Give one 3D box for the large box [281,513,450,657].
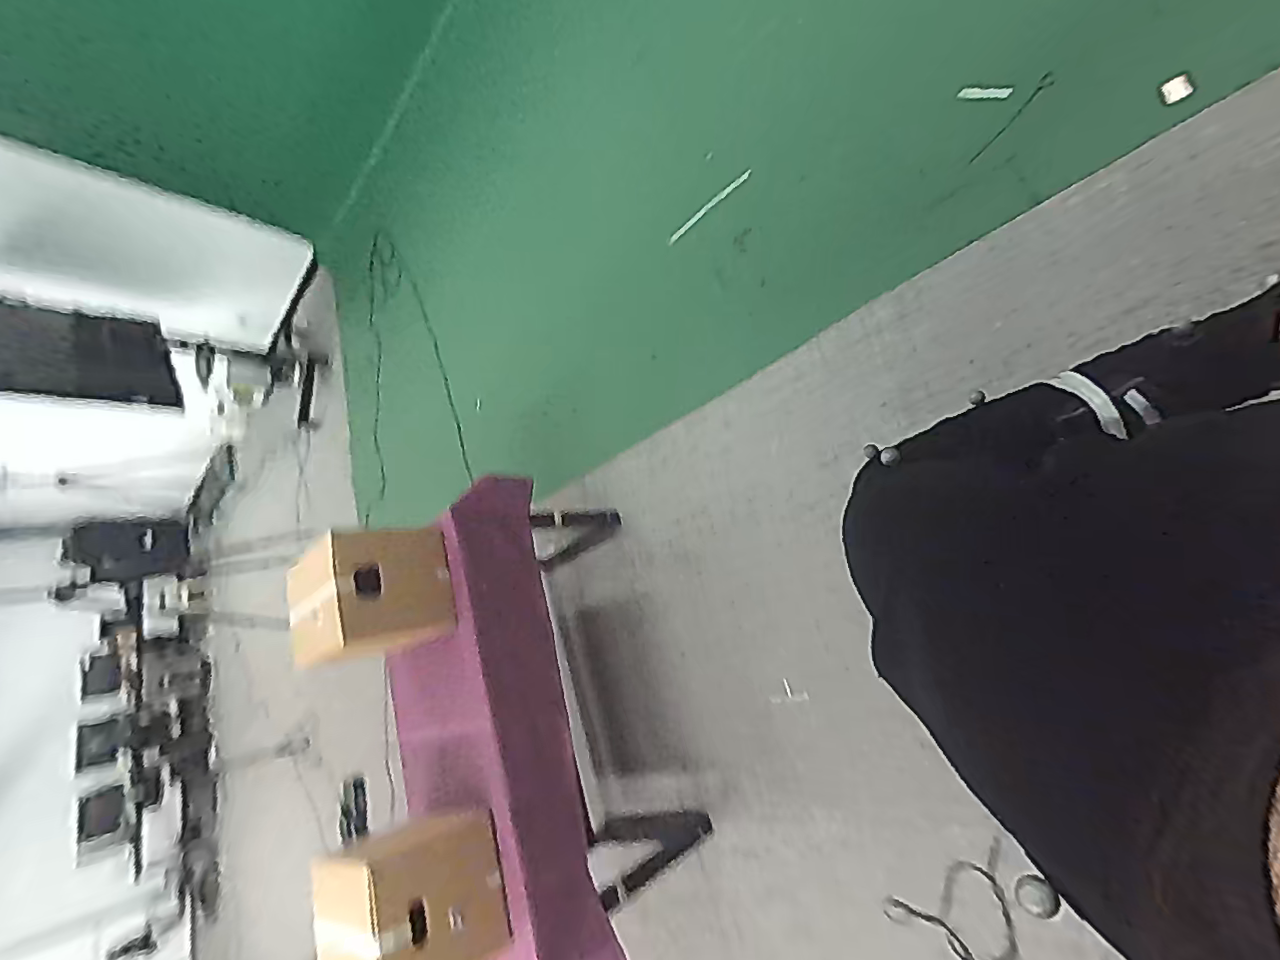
[{"bbox_3d":[-0.823,0.309,1.605,0.408,0.320,0.320,-27,71,36],"label":"large box"}]
